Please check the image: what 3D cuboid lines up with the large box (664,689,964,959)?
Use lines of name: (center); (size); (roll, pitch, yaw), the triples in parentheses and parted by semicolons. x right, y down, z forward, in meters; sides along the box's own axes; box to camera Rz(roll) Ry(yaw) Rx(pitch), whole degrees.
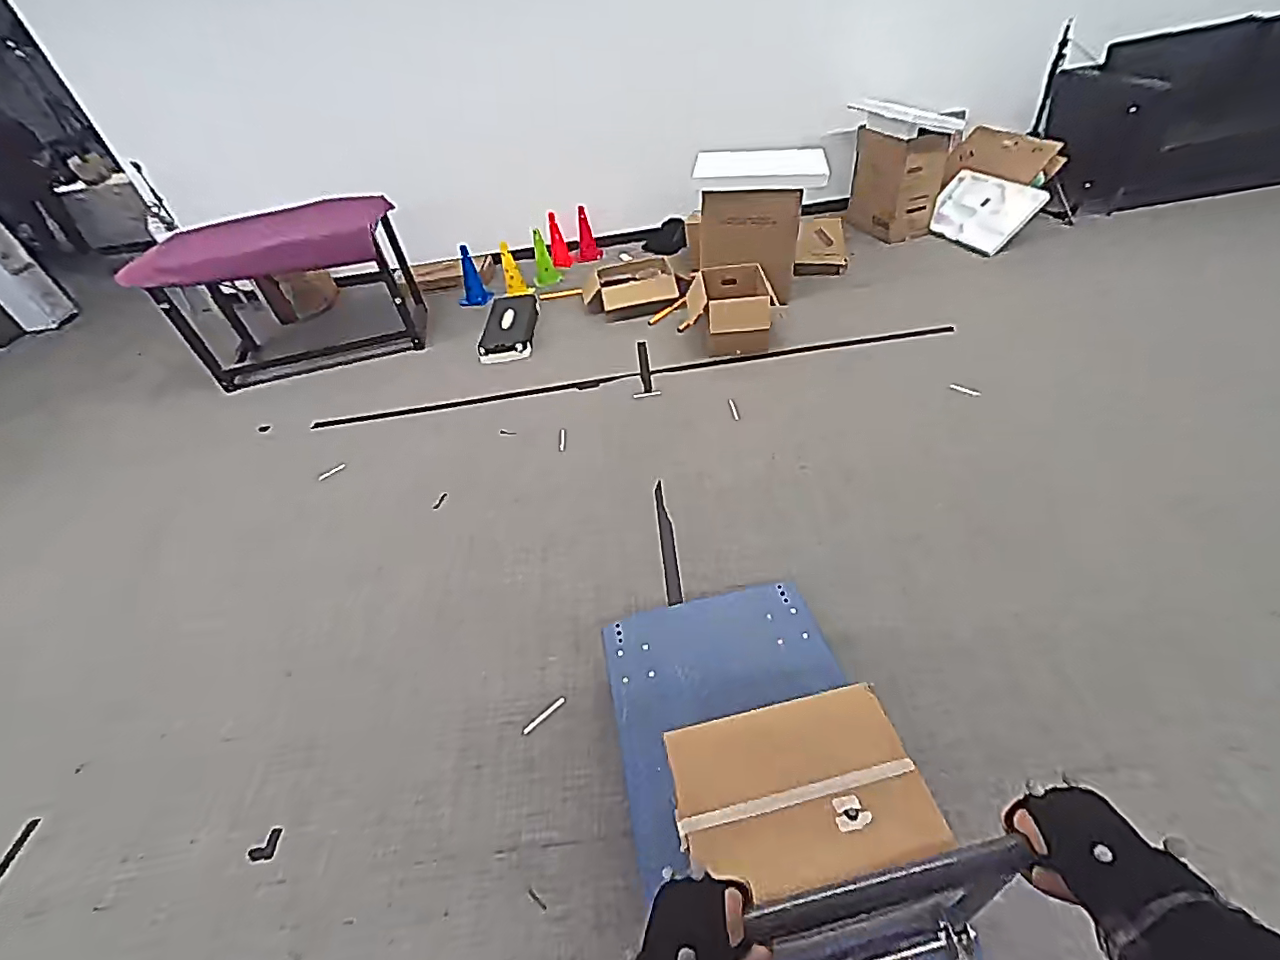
large box: (0.280, 0.647, 1.000); (0.408, 0.320, 0.320); (-12, 43, -5)
